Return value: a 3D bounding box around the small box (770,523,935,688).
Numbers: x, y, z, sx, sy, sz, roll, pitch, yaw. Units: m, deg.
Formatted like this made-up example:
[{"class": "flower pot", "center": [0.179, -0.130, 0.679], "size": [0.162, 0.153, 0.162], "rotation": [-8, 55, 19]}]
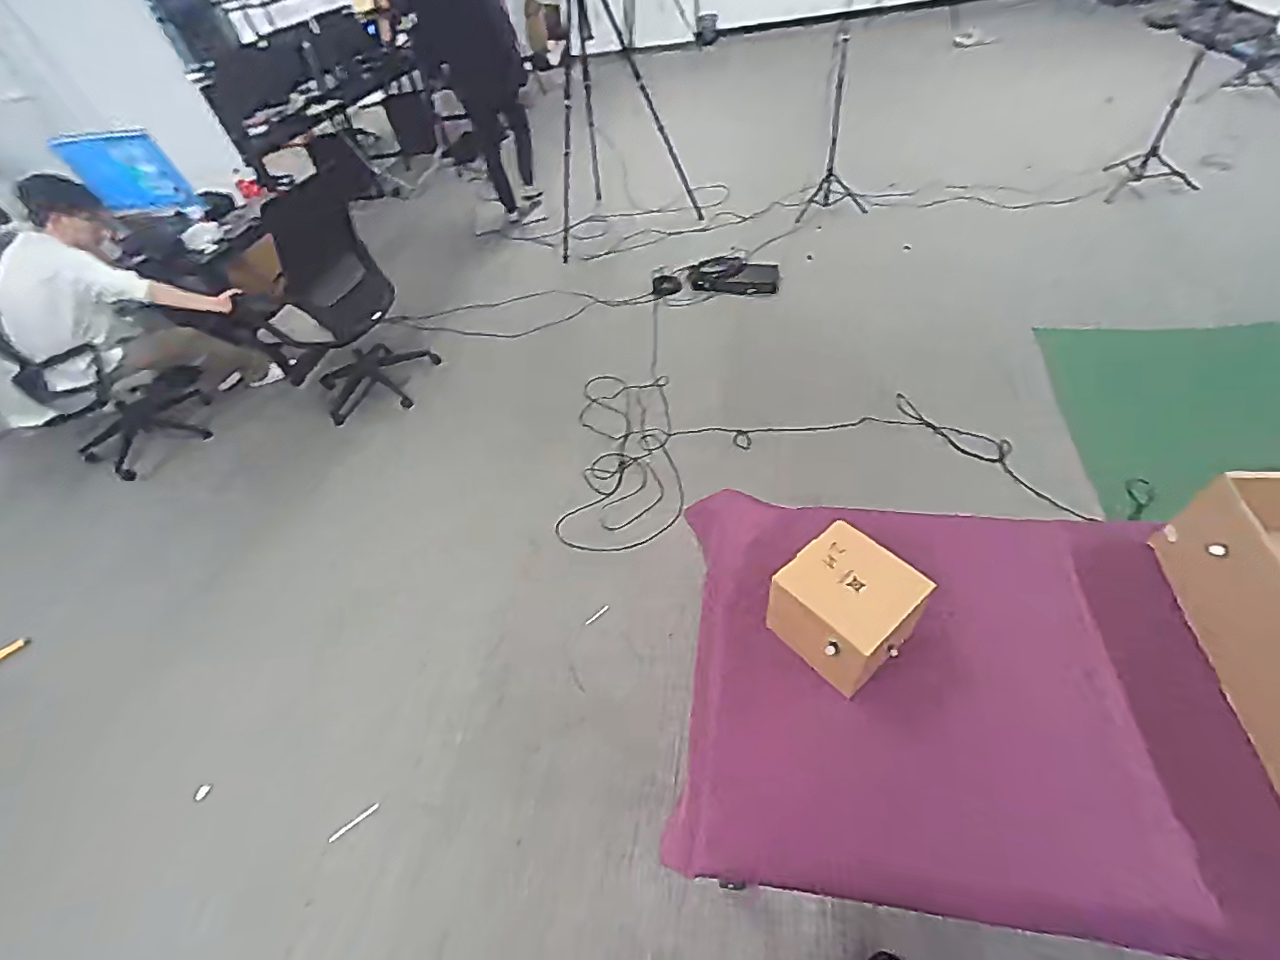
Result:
[{"class": "small box", "center": [0.331, 0.210, 0.877], "size": [0.168, 0.176, 0.179], "rotation": [-34, 52, -20]}]
